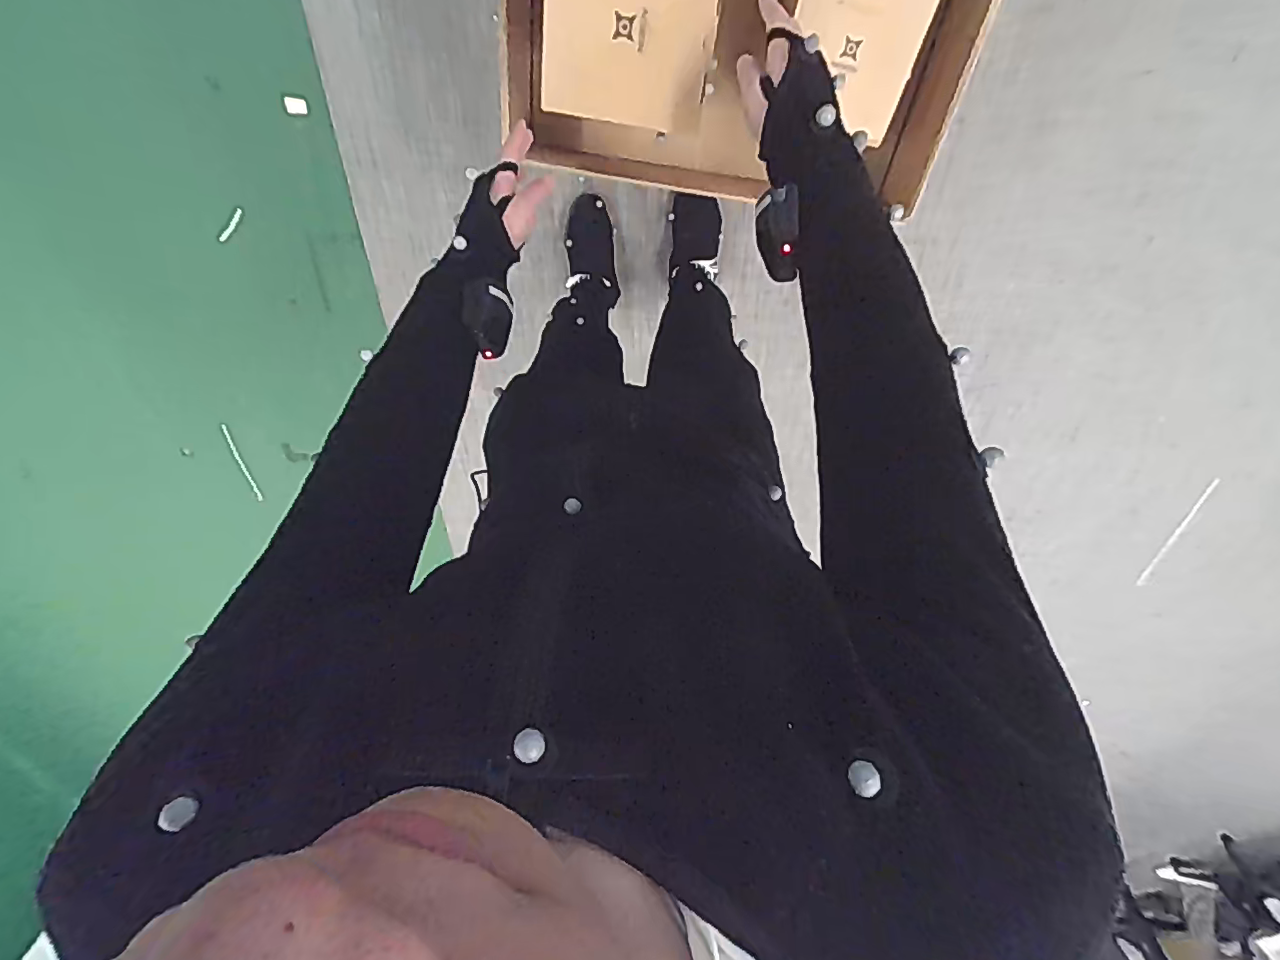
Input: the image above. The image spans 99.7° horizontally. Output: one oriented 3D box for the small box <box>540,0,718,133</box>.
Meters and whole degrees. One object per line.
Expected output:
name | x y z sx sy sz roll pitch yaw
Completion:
small box | -0.007 -0.509 0.613 0.179 0.176 0.168 8 128 -2
